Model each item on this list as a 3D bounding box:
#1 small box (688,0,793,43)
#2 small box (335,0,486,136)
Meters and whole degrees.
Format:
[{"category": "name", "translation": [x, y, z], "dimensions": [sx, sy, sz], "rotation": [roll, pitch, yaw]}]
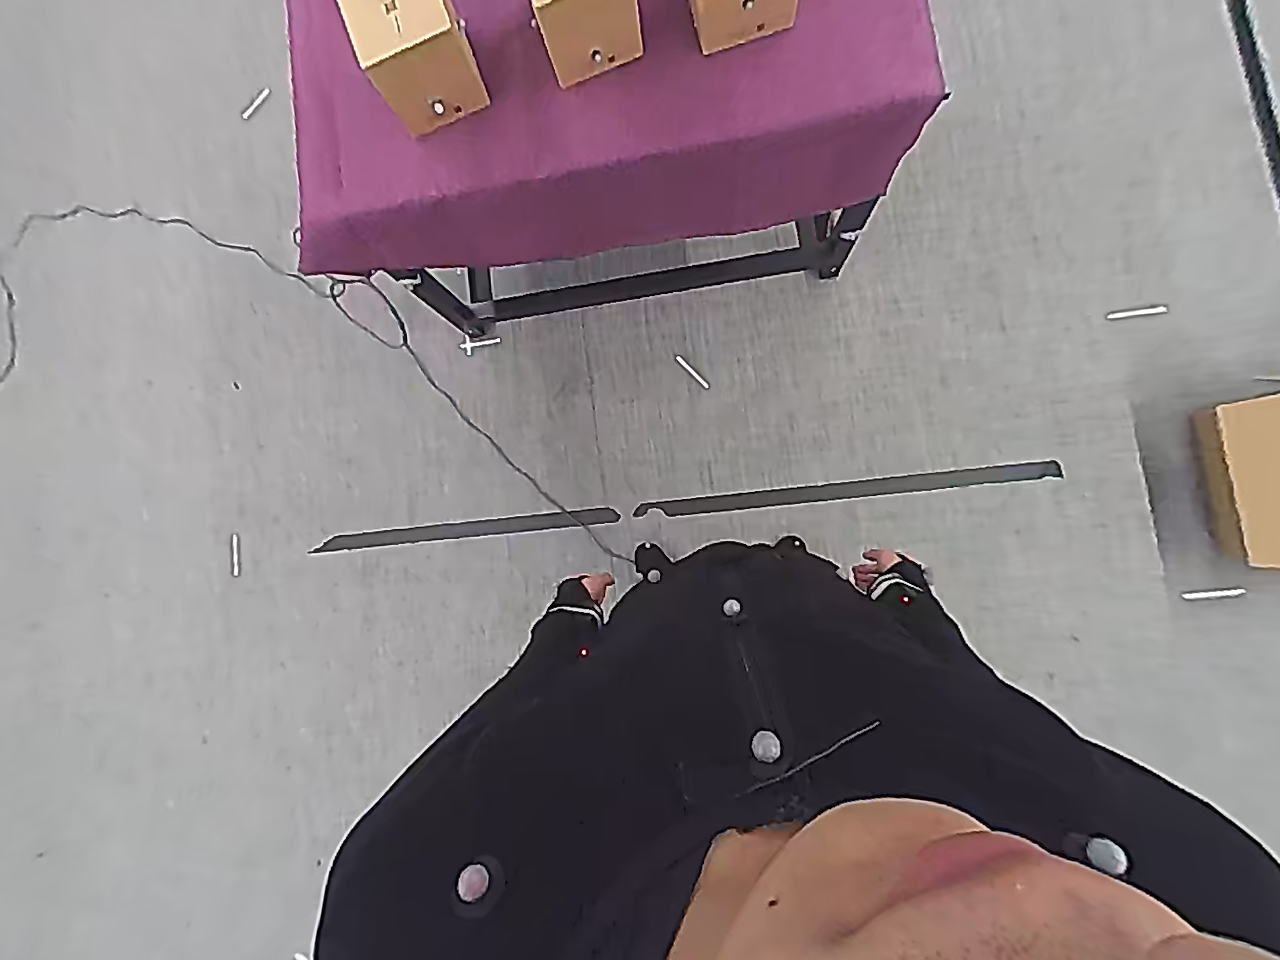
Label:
[{"category": "small box", "translation": [0.161, -0.874, 0.892], "dimensions": [0.168, 0.176, 0.179], "rotation": [-14, 84, 5]}, {"category": "small box", "translation": [-0.398, -0.762, 0.952], "dimensions": [0.168, 0.176, 0.179], "rotation": [-21, 84, 5]}]
